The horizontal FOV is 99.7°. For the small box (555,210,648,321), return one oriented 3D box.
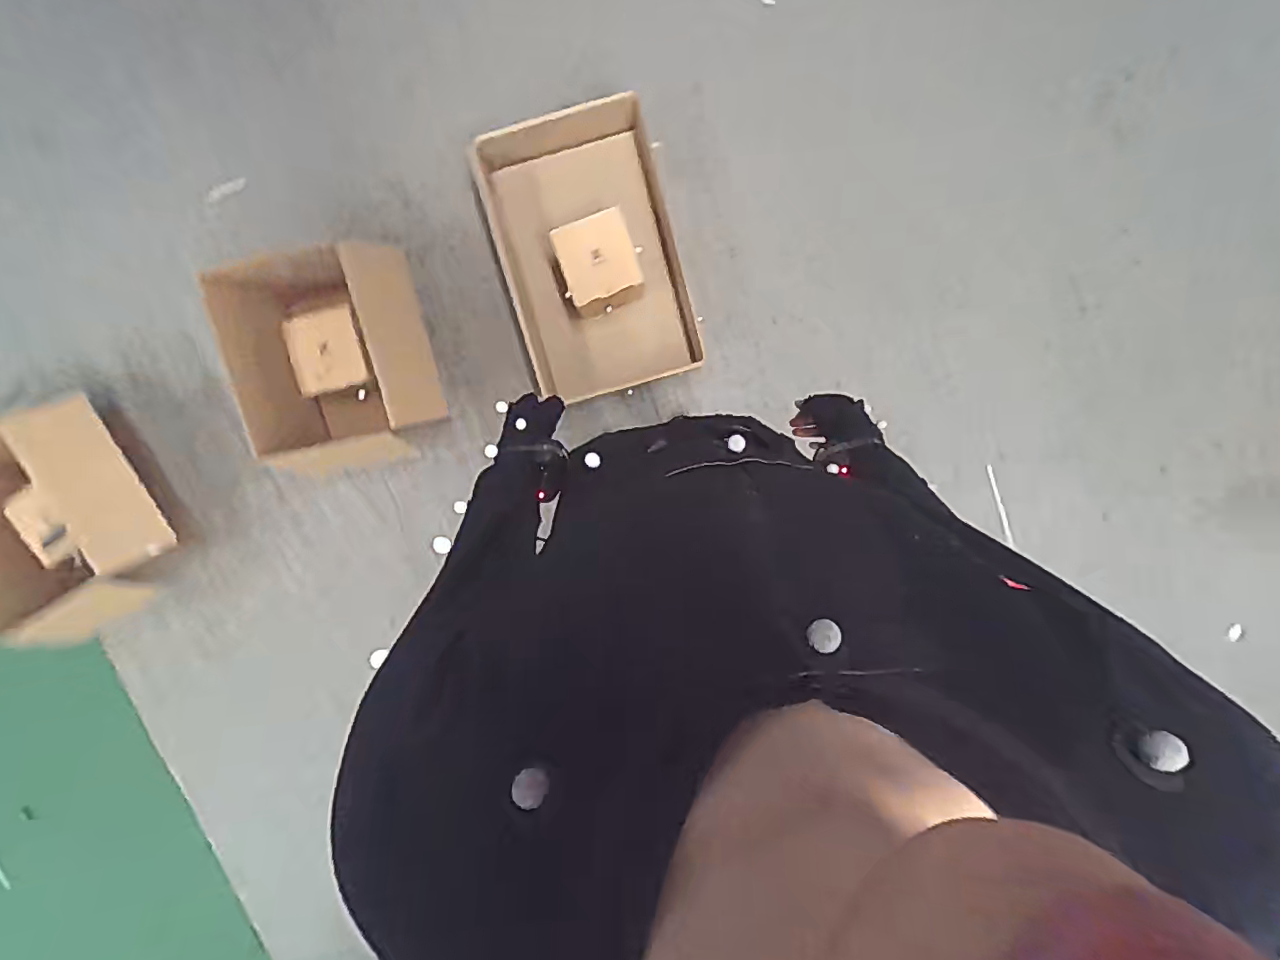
[{"bbox_3d":[-0.088,-0.498,1.282,0.168,0.176,0.179,-20,96,2],"label":"small box"}]
